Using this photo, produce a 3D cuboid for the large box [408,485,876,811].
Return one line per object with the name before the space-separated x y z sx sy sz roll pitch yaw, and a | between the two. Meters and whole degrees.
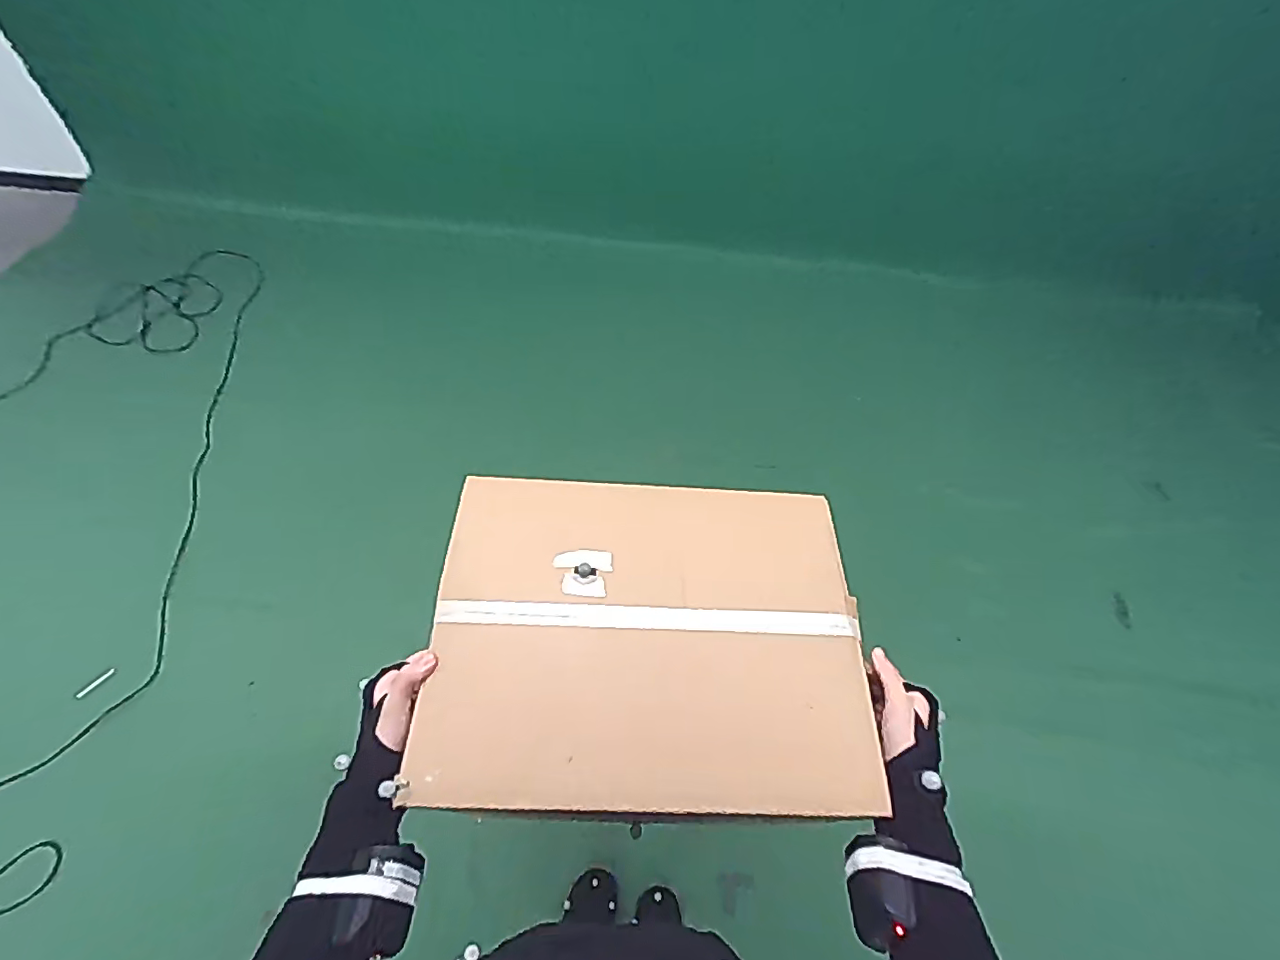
large box | -0.001 0.219 0.656 0.408 0.320 0.320 2 57 -3
